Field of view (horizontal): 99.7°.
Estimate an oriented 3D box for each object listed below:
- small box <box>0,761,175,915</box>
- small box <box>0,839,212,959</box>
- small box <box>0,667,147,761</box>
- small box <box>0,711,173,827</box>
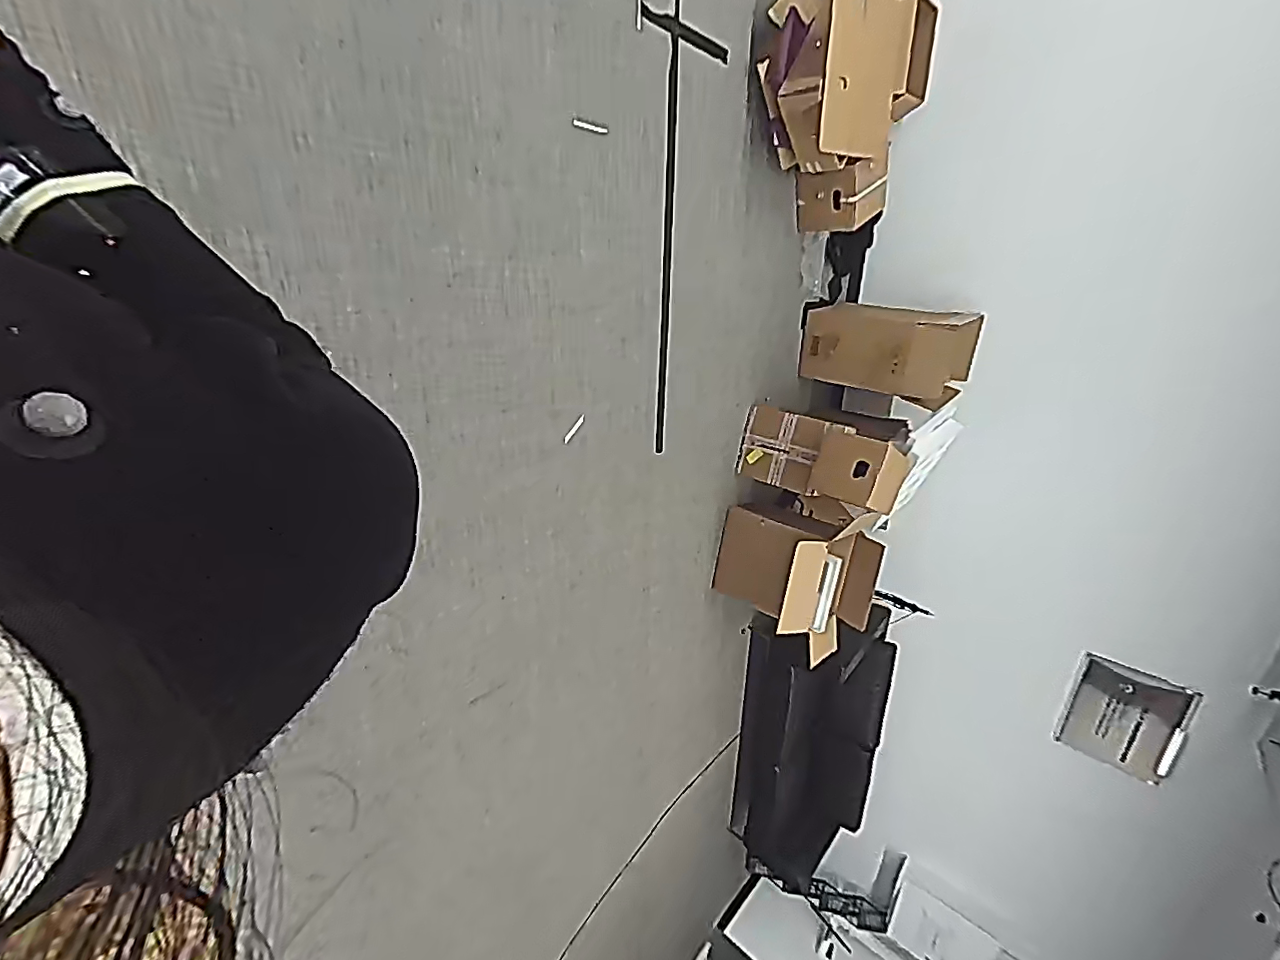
[{"bbox_3d":[-0.807,0.565,0.797,0.168,0.176,0.179,-13,113,-50],"label":"small box"},{"bbox_3d":[-0.683,0.614,0.701,0.168,0.176,0.179,-16,115,-48],"label":"small box"},{"bbox_3d":[-1.046,0.477,1.002,0.179,0.176,0.168,-8,110,-50],"label":"small box"},{"bbox_3d":[-0.924,0.525,0.907,0.179,0.176,0.168,-12,113,-48],"label":"small box"}]
